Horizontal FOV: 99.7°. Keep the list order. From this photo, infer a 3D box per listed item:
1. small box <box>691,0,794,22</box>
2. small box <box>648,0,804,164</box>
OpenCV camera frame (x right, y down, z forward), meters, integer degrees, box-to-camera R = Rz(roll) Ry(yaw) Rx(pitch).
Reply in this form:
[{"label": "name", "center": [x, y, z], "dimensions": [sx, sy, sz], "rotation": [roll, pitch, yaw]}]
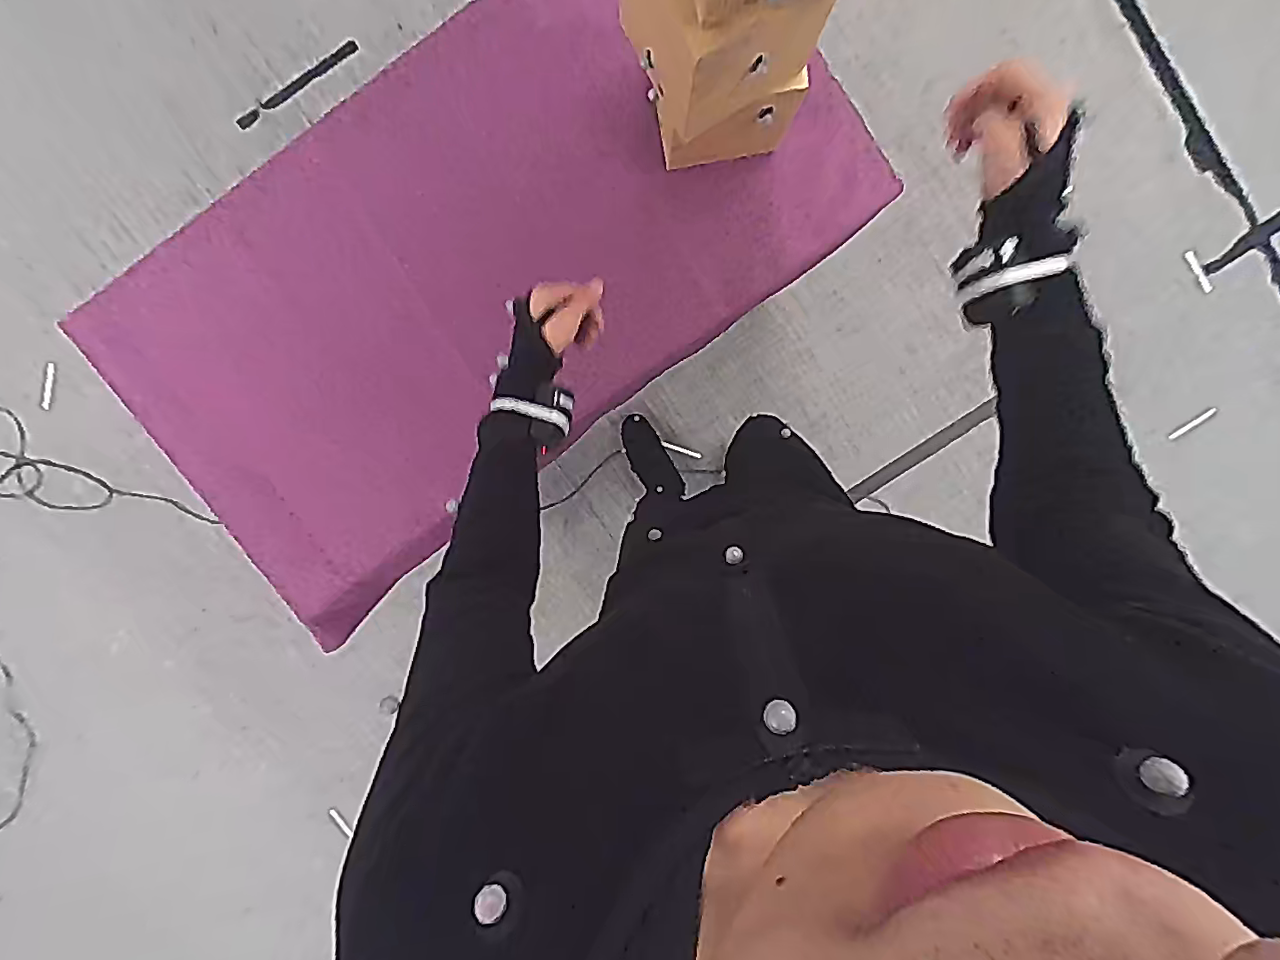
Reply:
[{"label": "small box", "center": [0.109, -0.526, 0.425], "dimensions": [0.168, 0.176, 0.179], "rotation": [-13, 98, 3]}, {"label": "small box", "center": [0.109, -0.571, 0.750], "dimensions": [0.179, 0.176, 0.168], "rotation": [-9, 97, 1]}]
